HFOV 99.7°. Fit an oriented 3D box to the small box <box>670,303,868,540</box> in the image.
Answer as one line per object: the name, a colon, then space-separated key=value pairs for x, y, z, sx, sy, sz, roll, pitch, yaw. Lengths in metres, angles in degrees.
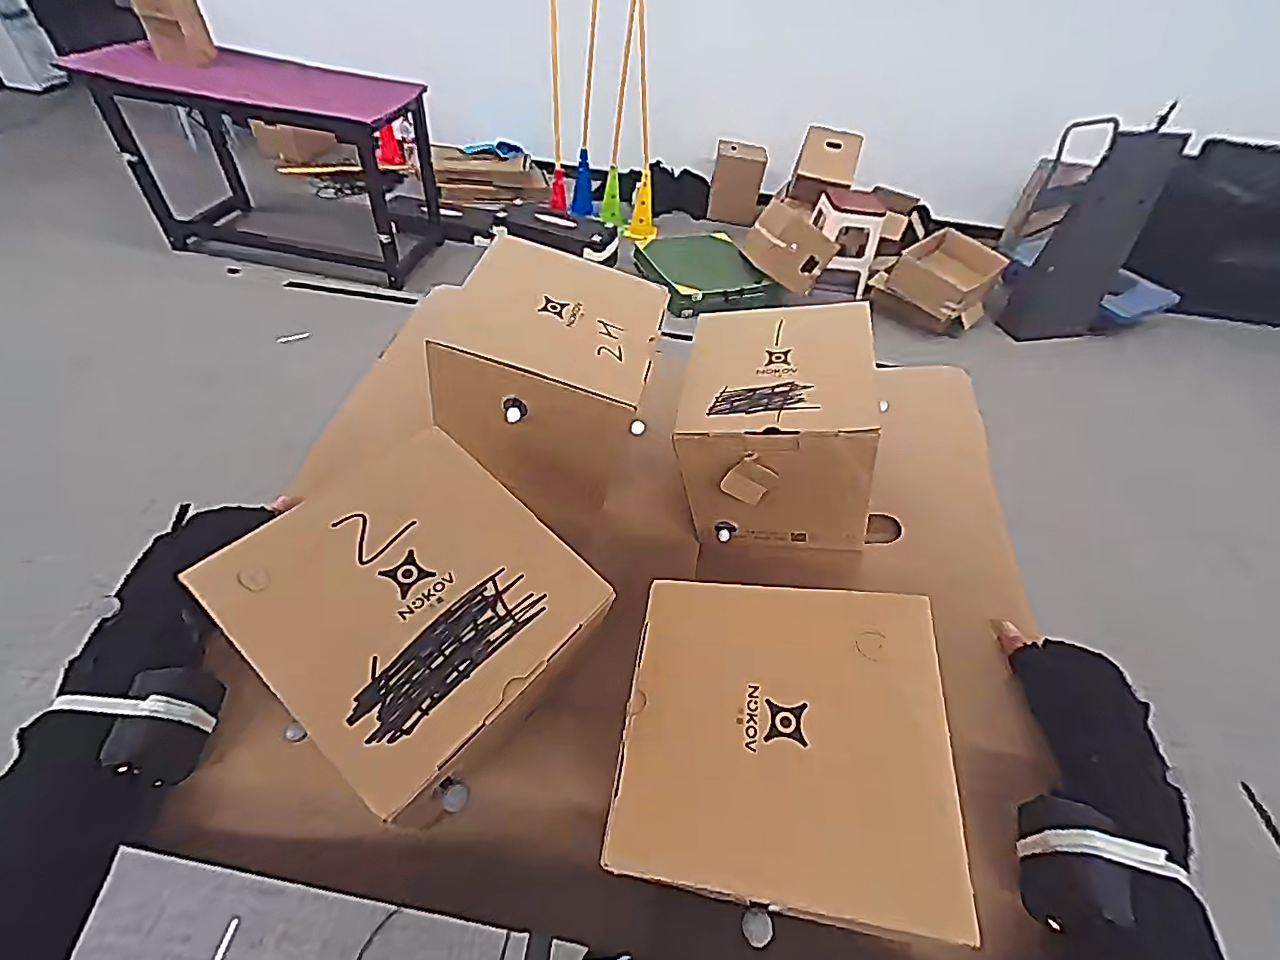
small box: x=0.138 y=-0.055 z=0.554 sx=0.168 sy=0.176 sz=0.179 roll=2 pitch=50 yaw=17

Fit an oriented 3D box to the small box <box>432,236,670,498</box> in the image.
small box: x=-0.088 y=-0.104 z=0.546 sx=0.179 sy=0.176 sz=0.168 roll=18 pitch=54 yaw=-5
